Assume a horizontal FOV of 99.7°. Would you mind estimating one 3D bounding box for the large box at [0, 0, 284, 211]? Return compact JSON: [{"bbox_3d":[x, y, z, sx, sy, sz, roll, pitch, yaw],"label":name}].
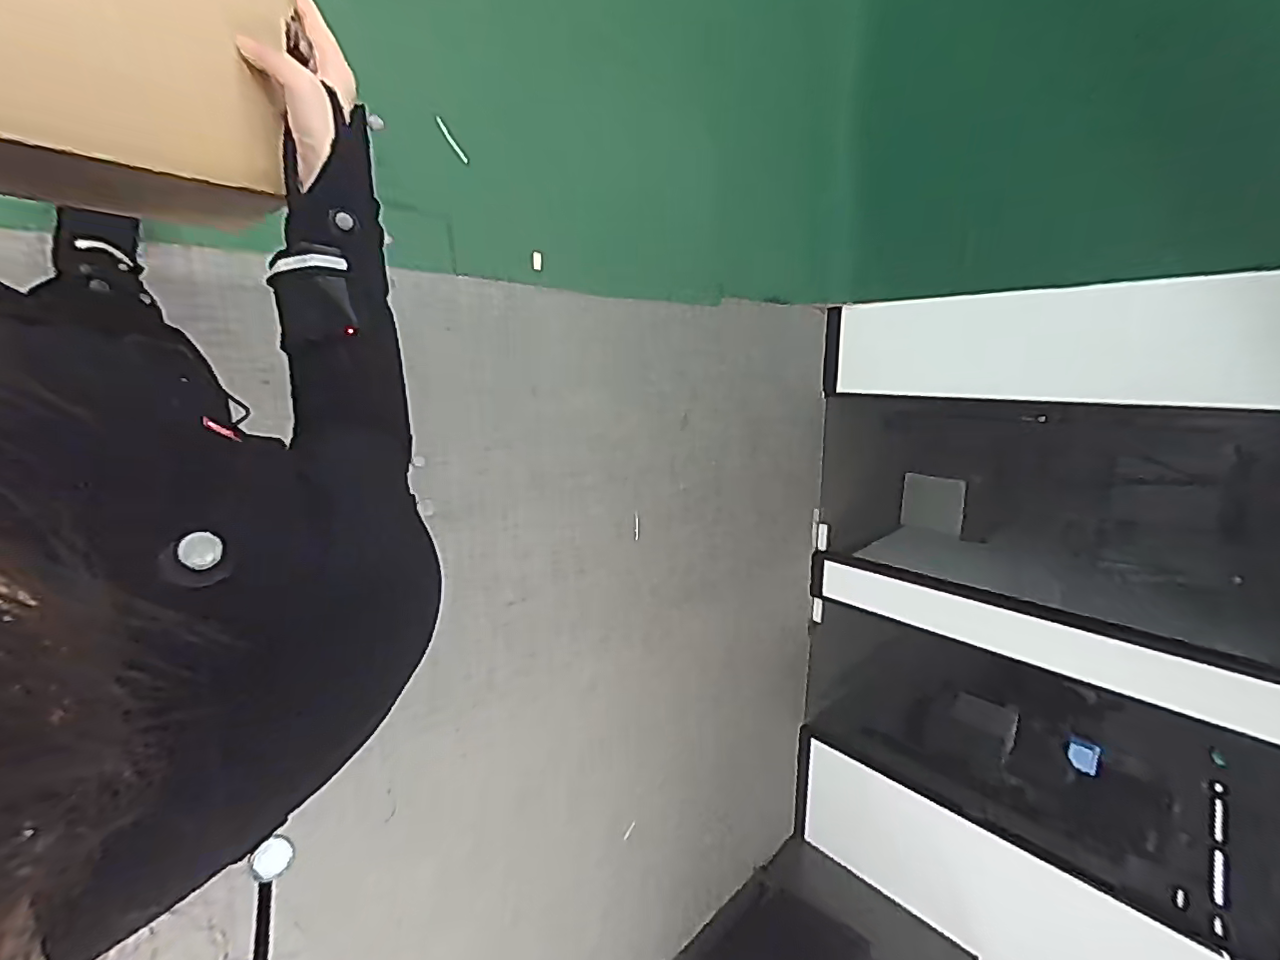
[{"bbox_3d":[-0.519,-0.399,0.373,0.408,0.320,0.320,-8,109,-41],"label":"large box"}]
